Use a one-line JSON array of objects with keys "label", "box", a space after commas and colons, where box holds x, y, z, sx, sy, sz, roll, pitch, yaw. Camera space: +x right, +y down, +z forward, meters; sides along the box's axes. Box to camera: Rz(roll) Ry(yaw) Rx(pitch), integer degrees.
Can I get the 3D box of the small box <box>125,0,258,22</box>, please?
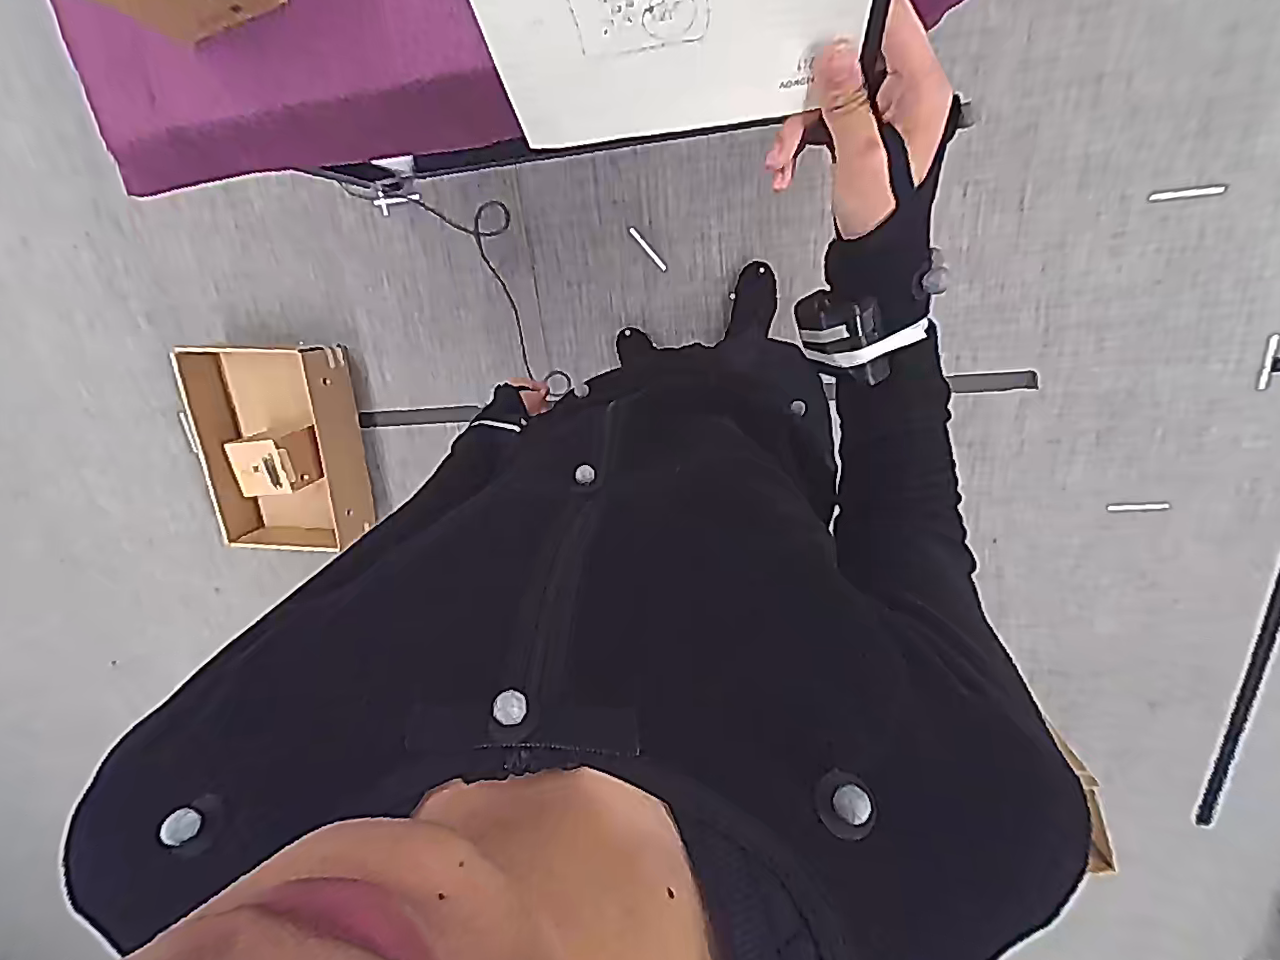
[{"label": "small box", "box": [-0.566, -0.672, 0.620, 0.168, 0.176, 0.179, -11, 108, 10]}]
